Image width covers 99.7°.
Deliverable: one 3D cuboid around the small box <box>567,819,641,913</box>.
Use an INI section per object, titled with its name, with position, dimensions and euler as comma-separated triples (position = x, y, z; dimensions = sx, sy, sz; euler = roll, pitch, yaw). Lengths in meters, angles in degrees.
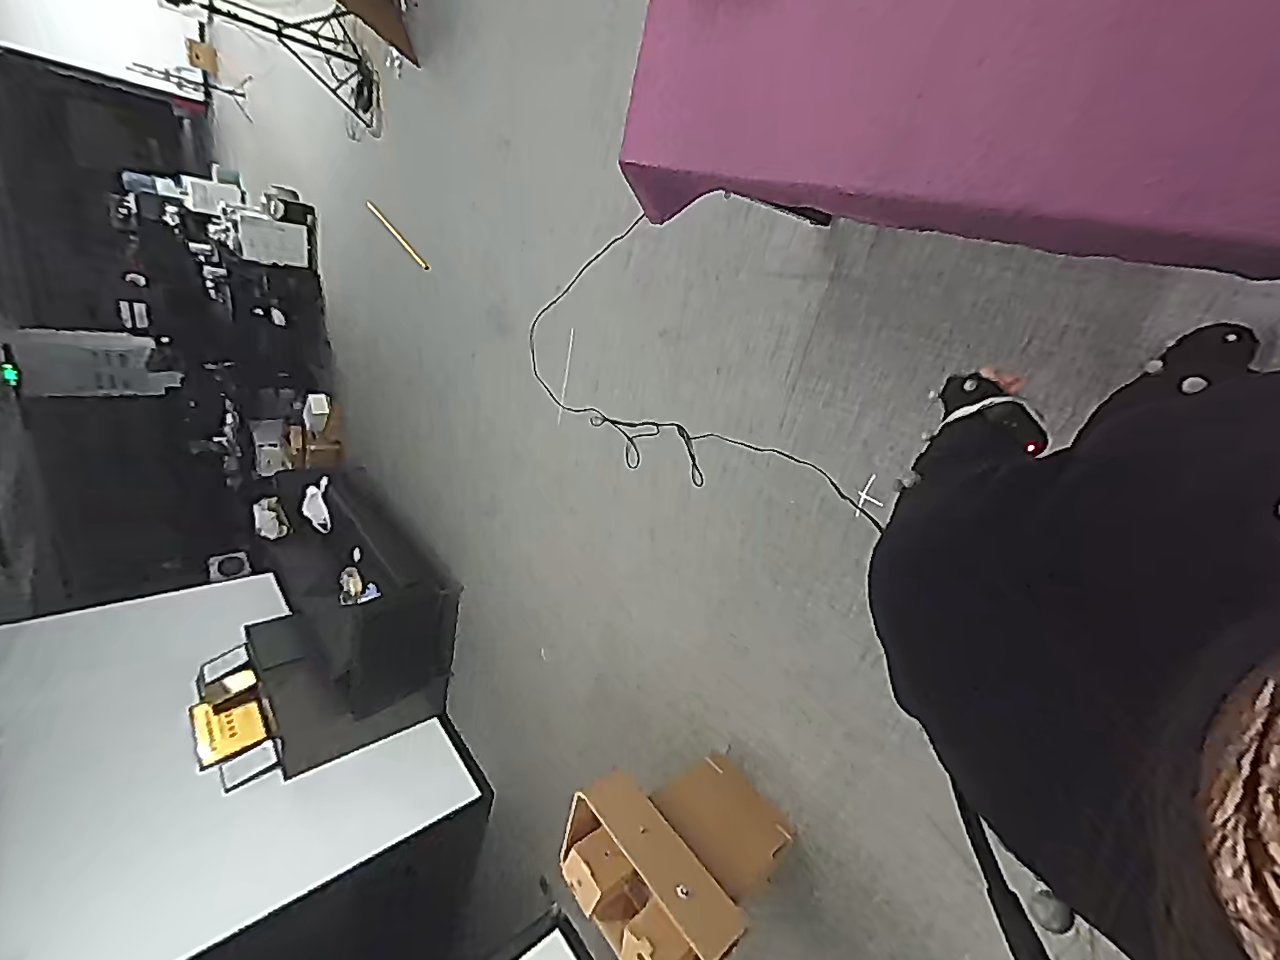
[small box]
position = -0.120, 1.306, 1.841
dimensions = 0.168, 0.176, 0.179
euler = 41, 124, 36
